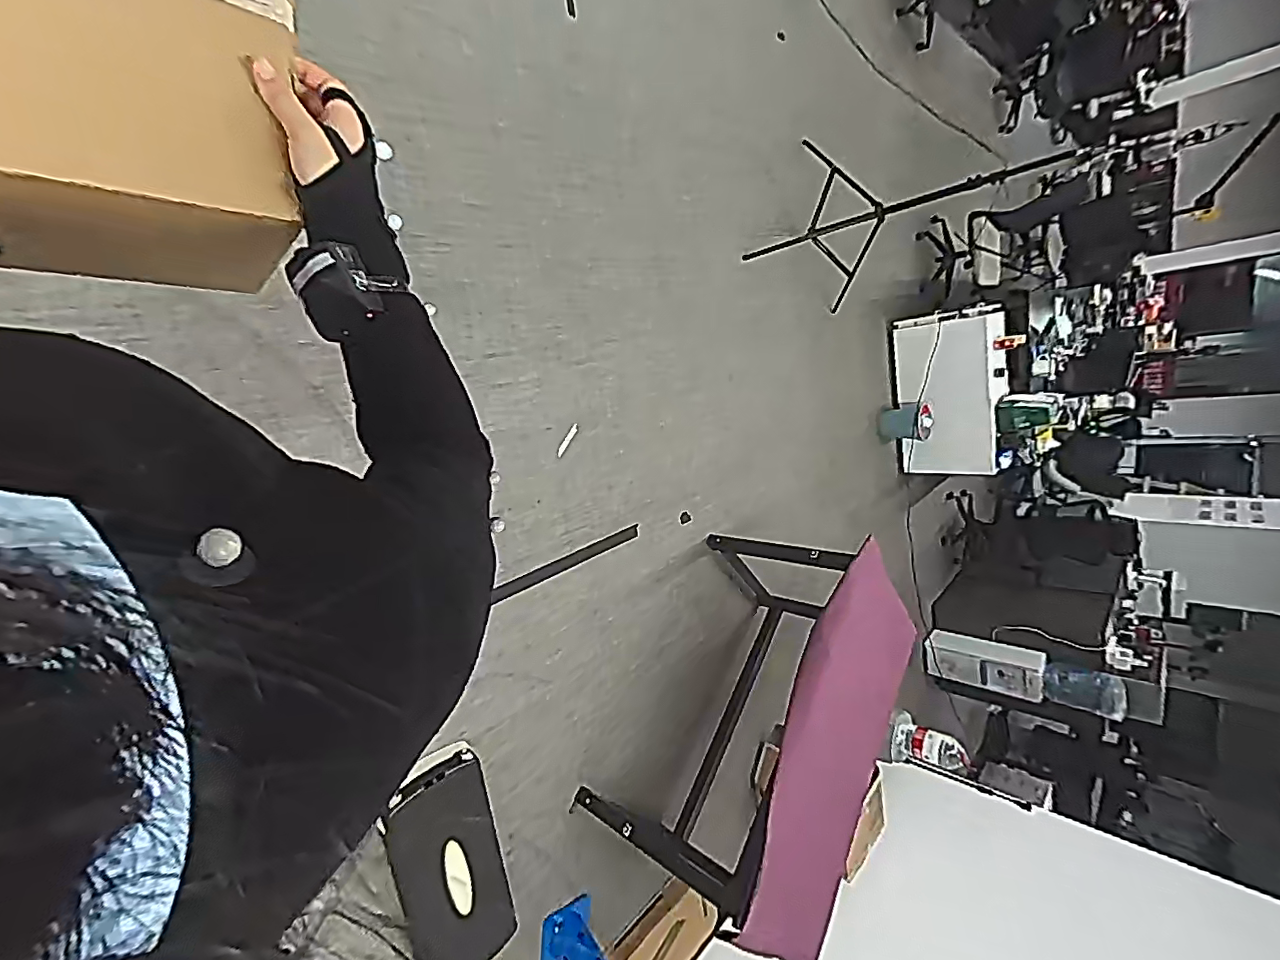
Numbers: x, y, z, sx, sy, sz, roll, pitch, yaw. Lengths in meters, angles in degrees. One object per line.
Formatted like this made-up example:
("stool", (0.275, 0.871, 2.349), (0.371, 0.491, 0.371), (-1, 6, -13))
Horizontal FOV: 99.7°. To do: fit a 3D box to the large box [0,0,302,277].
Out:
("large box", (-0.532, -0.362, 0.416), (0.408, 0.320, 0.320), (-8, 99, -40))
